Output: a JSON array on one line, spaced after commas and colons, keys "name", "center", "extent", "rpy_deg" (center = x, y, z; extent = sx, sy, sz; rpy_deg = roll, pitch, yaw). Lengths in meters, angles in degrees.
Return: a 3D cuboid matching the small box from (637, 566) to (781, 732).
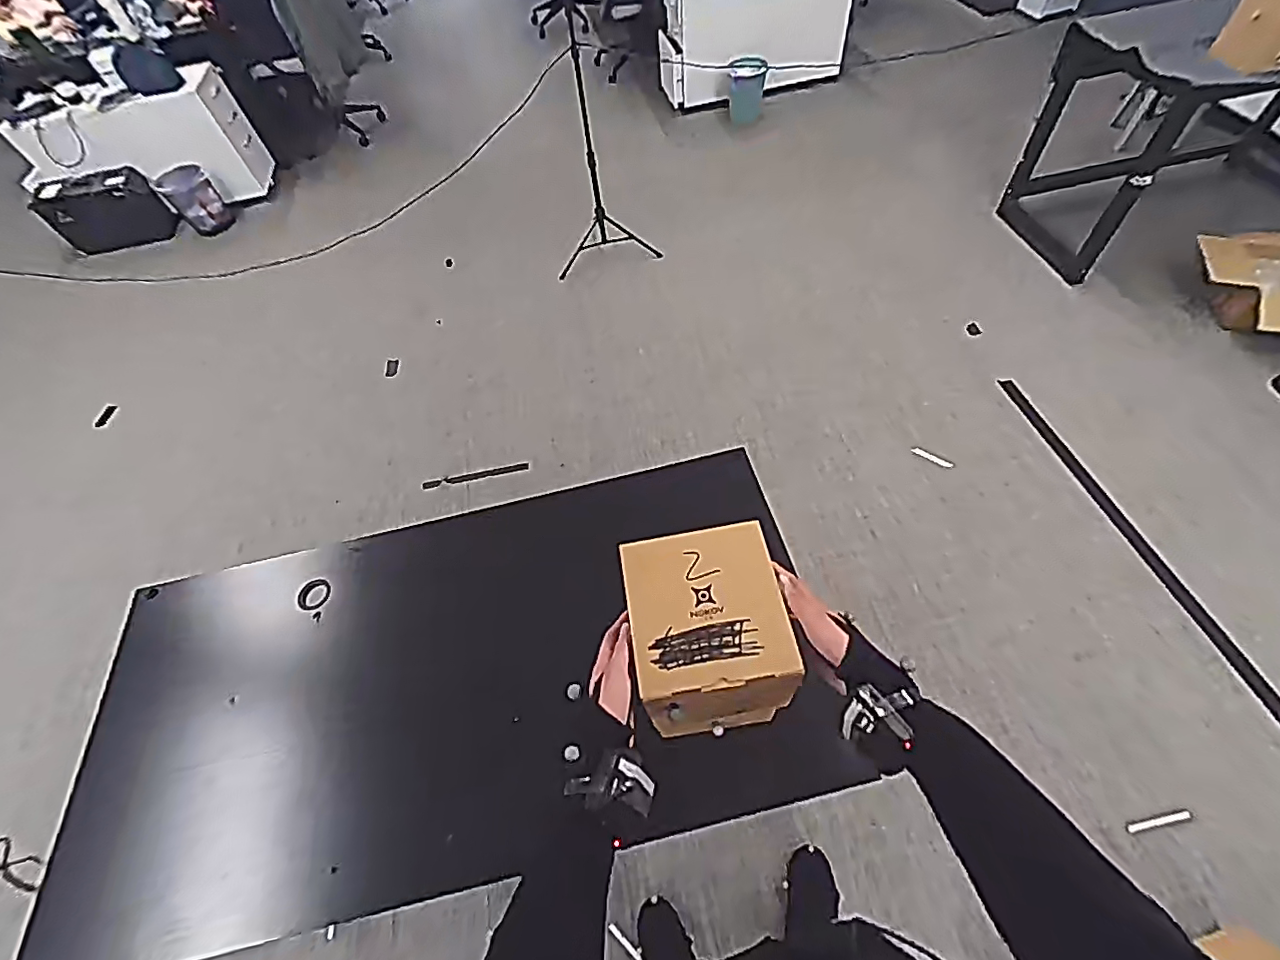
[{"name": "small box", "center": [0.093, 0.247, 0.780], "extent": [0.168, 0.176, 0.179], "rpy_deg": [-10, 56, 2]}]
